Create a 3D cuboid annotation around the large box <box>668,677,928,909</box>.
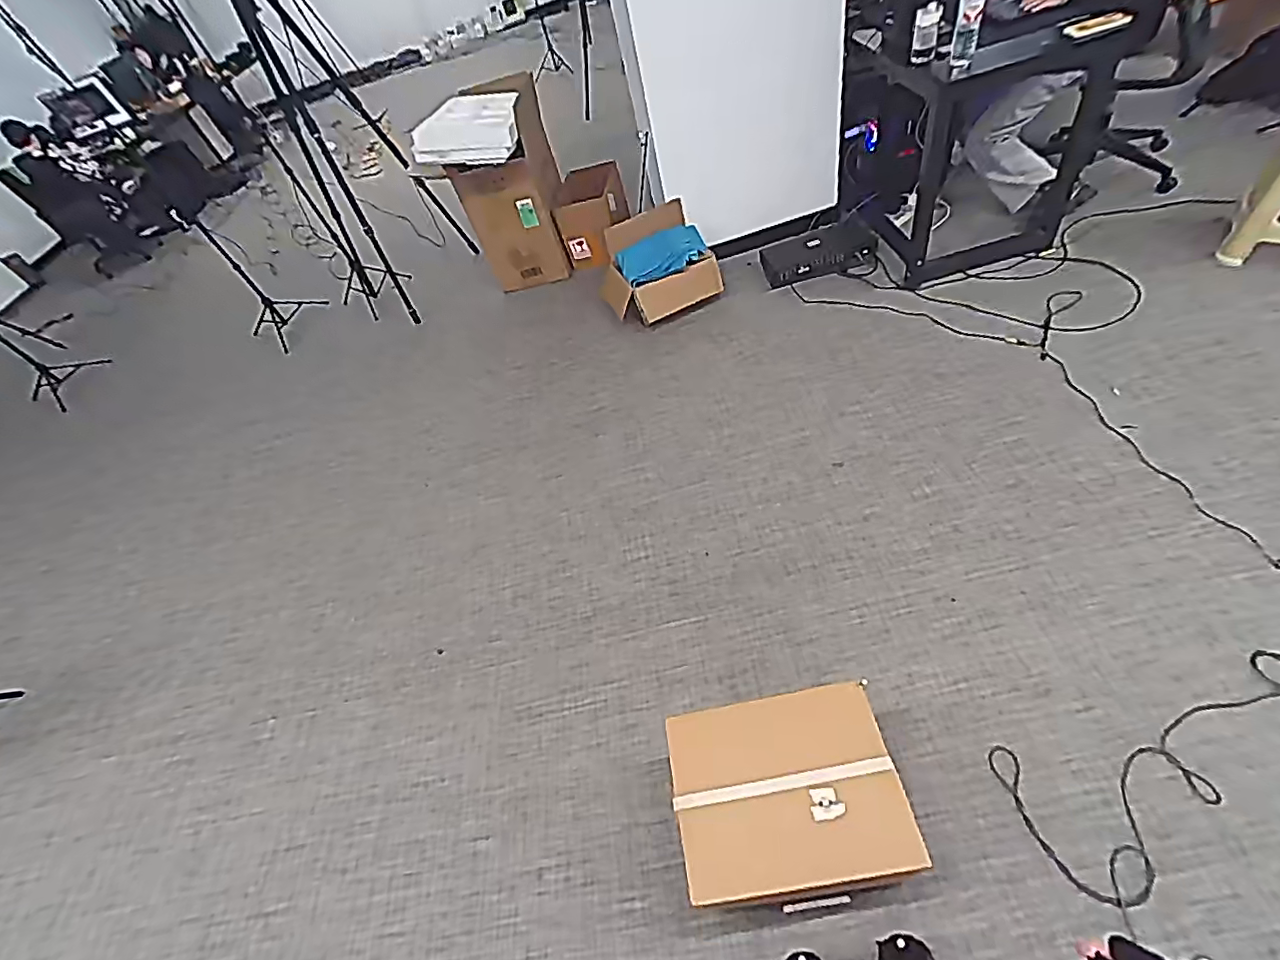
[{"bbox_3d":[0.300,0.651,1.114,0.408,0.320,0.320,-14,49,5],"label":"large box"}]
